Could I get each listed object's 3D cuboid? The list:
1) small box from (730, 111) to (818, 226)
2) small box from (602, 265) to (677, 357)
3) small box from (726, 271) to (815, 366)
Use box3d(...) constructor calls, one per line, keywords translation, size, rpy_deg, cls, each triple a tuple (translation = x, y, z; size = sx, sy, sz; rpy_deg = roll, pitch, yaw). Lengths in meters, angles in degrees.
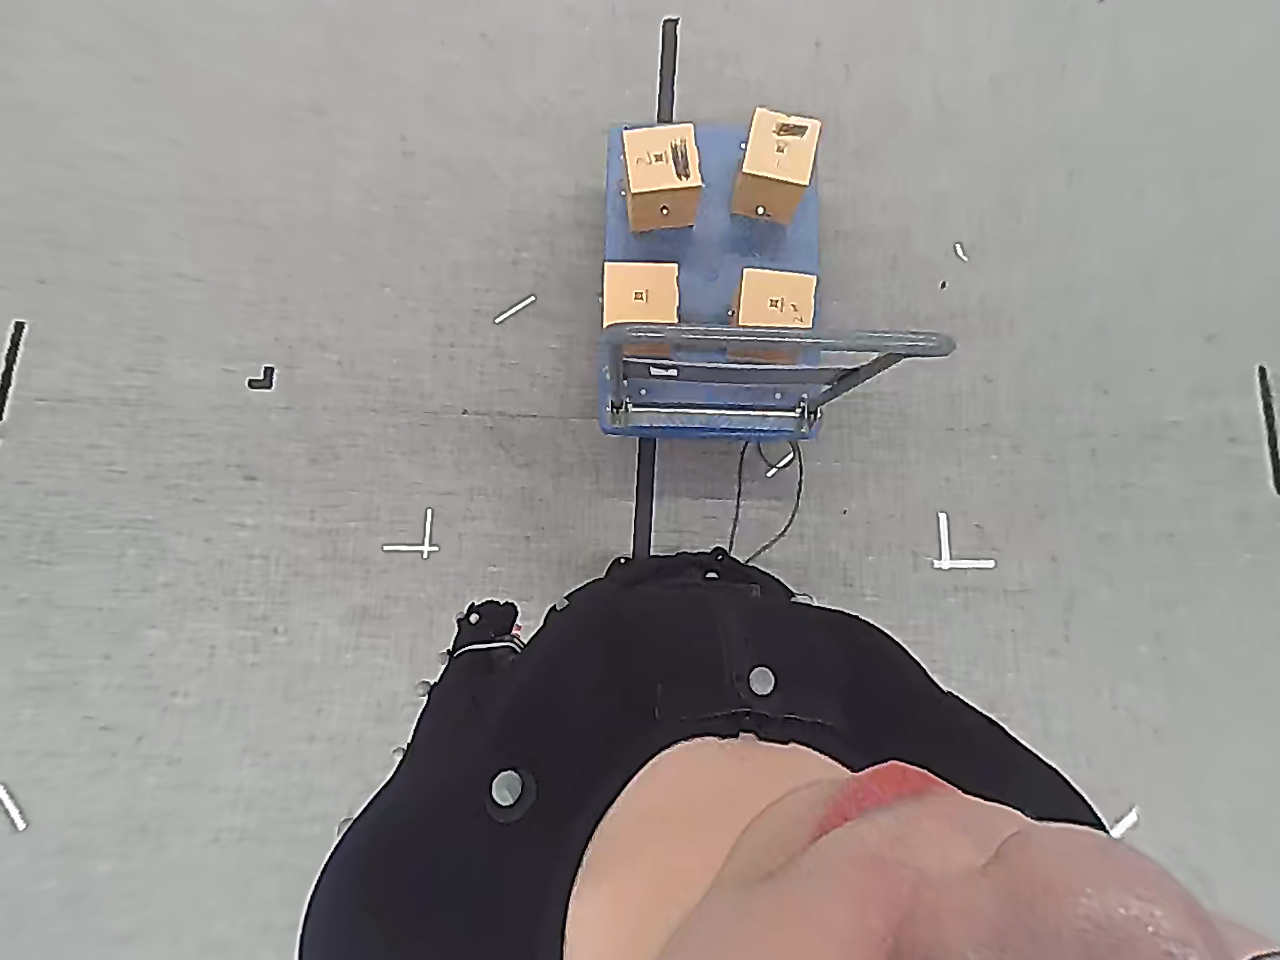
box3d(translation=(0.337, -0.791, 1.387), size=(0.168, 0.176, 0.179), rpy_deg=(12, 84, 1), cls="small box")
box3d(translation=(-0.003, -0.411, 1.335), size=(0.179, 0.176, 0.168), rpy_deg=(0, 83, -3), cls="small box")
box3d(translation=(0.315, -0.393, 1.339), size=(0.179, 0.176, 0.168), rpy_deg=(7, 83, 0), cls="small box")
